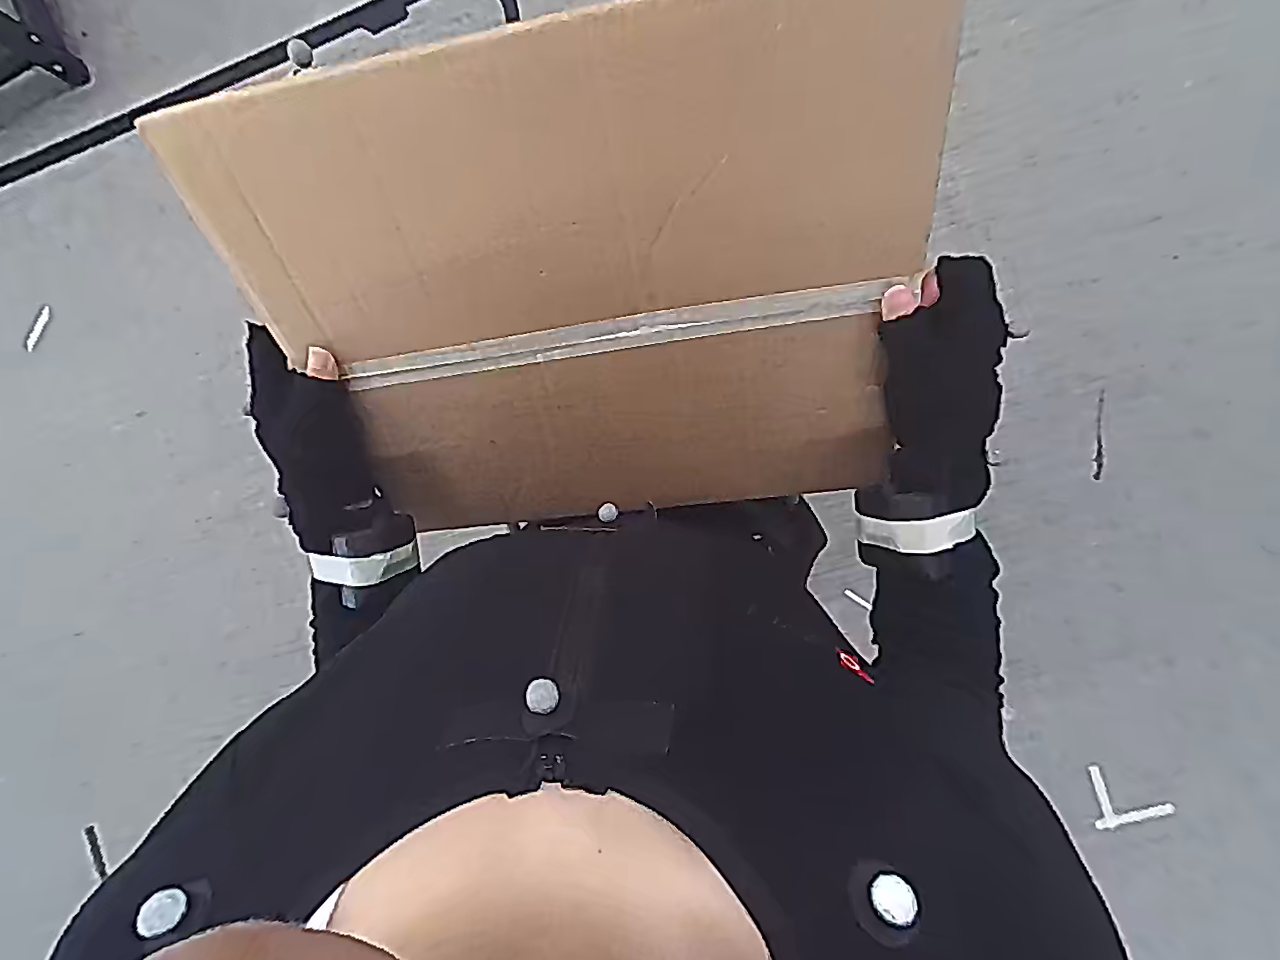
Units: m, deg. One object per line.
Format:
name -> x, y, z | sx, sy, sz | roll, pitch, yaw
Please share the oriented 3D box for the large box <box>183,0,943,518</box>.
large box -> -0.027, -0.199, 0.471 | 0.408, 0.320, 0.320 | -6, 132, 8
